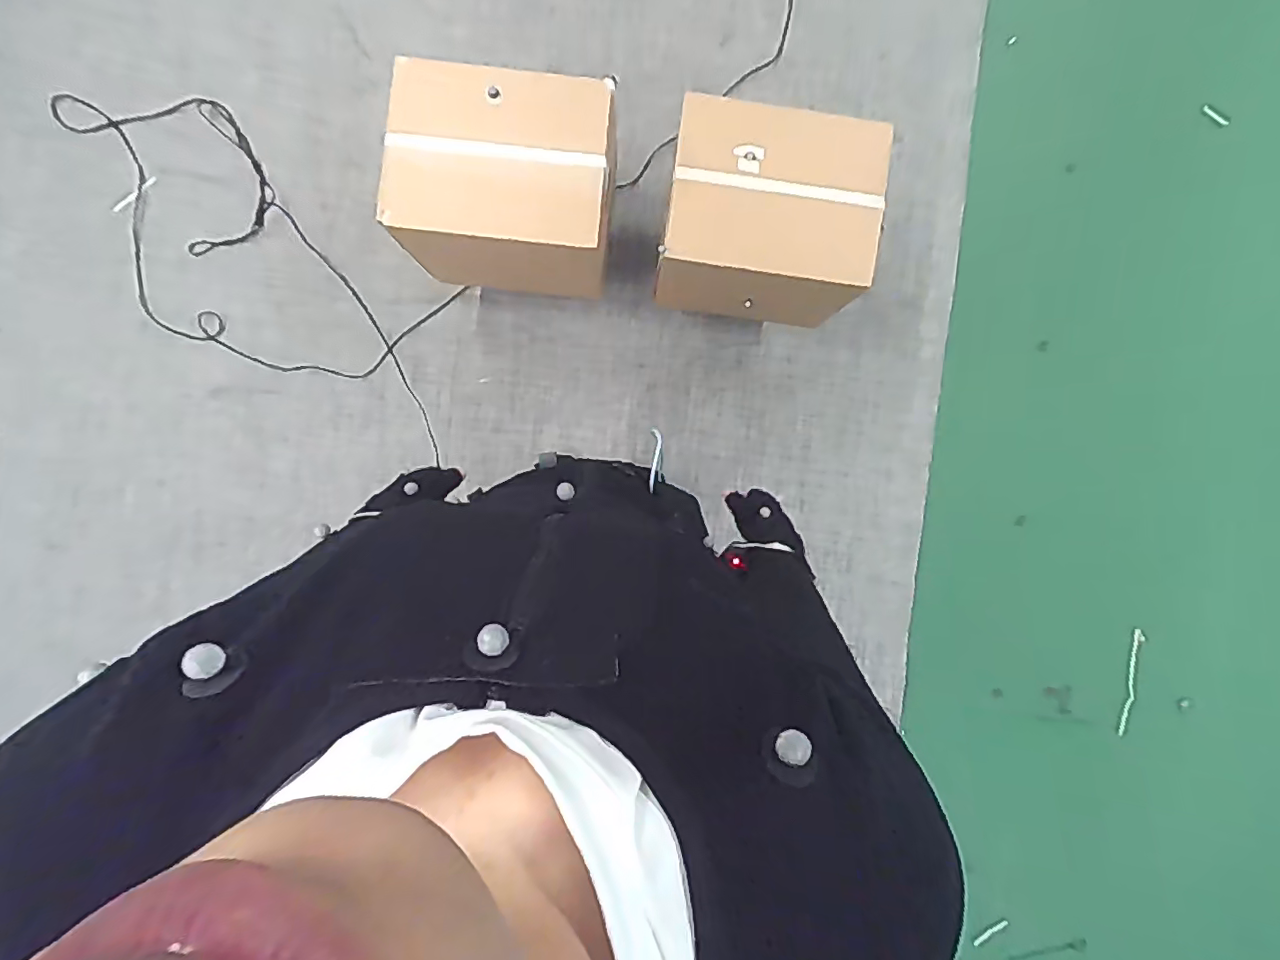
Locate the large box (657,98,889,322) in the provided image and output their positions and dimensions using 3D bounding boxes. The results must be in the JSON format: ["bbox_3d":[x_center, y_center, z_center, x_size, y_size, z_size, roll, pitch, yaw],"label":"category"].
[{"bbox_3d":[0.262,-0.556,1.181,0.408,0.320,0.320,8,91,-2],"label":"large box"}]
